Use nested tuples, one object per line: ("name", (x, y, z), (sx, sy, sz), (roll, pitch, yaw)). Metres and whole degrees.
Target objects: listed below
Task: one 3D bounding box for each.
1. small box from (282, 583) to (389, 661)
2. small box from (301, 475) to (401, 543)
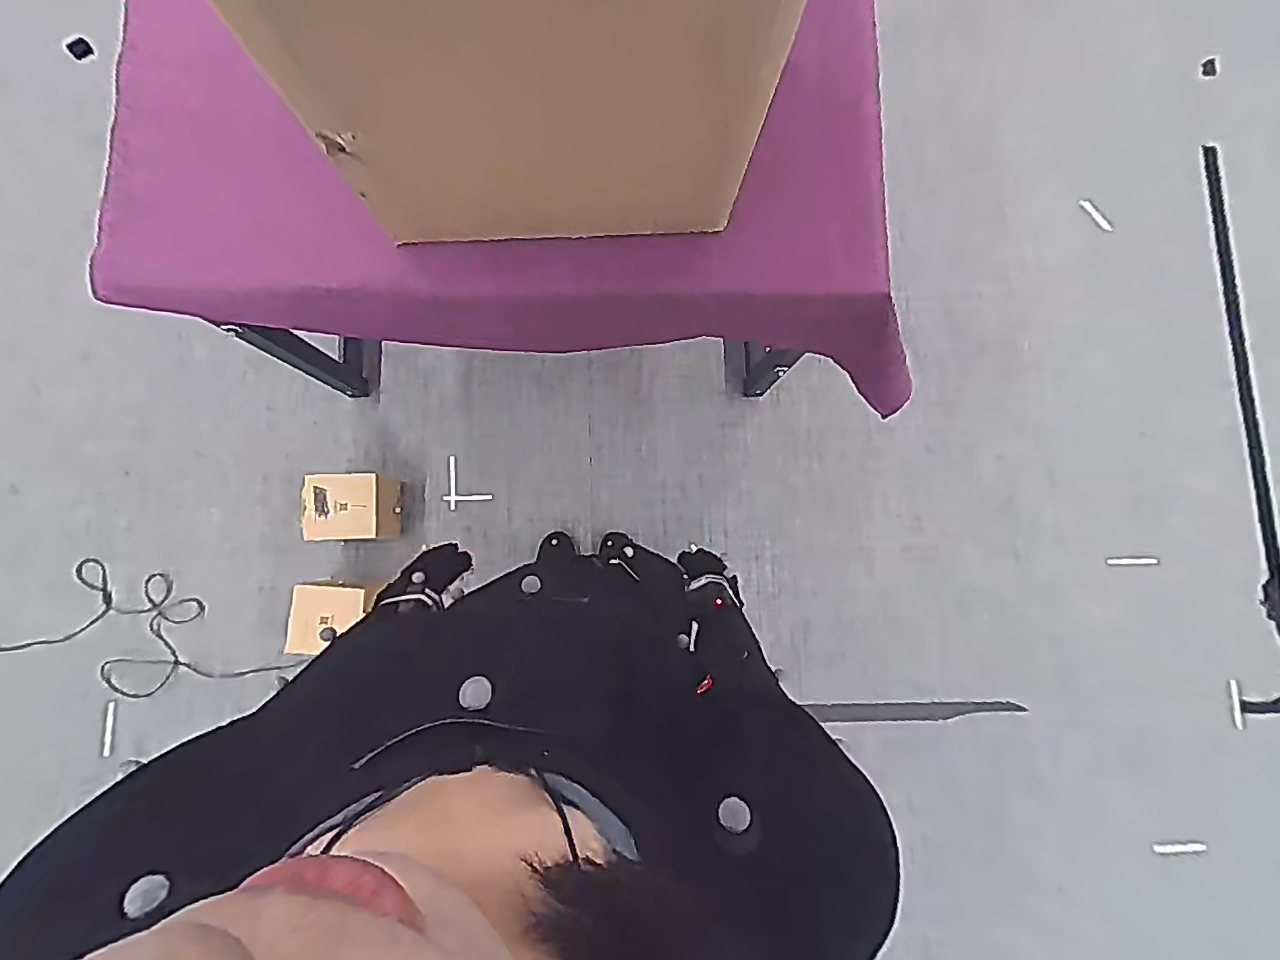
("small box", (-0.765, 0.356, 1.381), (0.179, 0.176, 0.168), (4, 82, -1))
("small box", (-0.747, 0.079, 1.410), (0.179, 0.176, 0.168), (-2, 84, -4))
